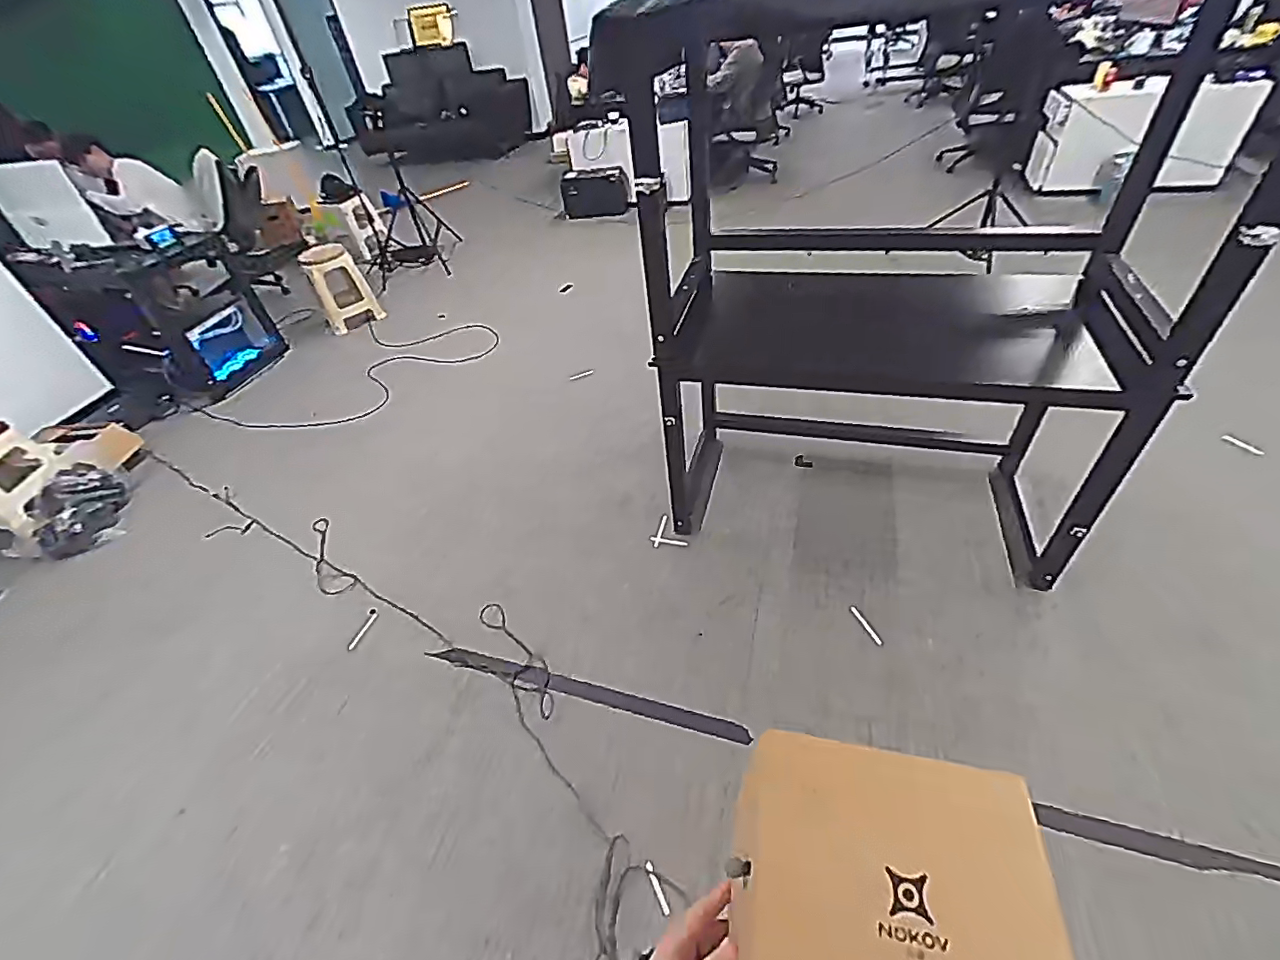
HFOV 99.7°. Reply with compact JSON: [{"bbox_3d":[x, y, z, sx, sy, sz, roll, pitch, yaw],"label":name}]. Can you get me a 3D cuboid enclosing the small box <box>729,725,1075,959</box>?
[{"bbox_3d":[0.149,0.294,0.355,0.168,0.176,0.179,7,46,9],"label":"small box"}]
